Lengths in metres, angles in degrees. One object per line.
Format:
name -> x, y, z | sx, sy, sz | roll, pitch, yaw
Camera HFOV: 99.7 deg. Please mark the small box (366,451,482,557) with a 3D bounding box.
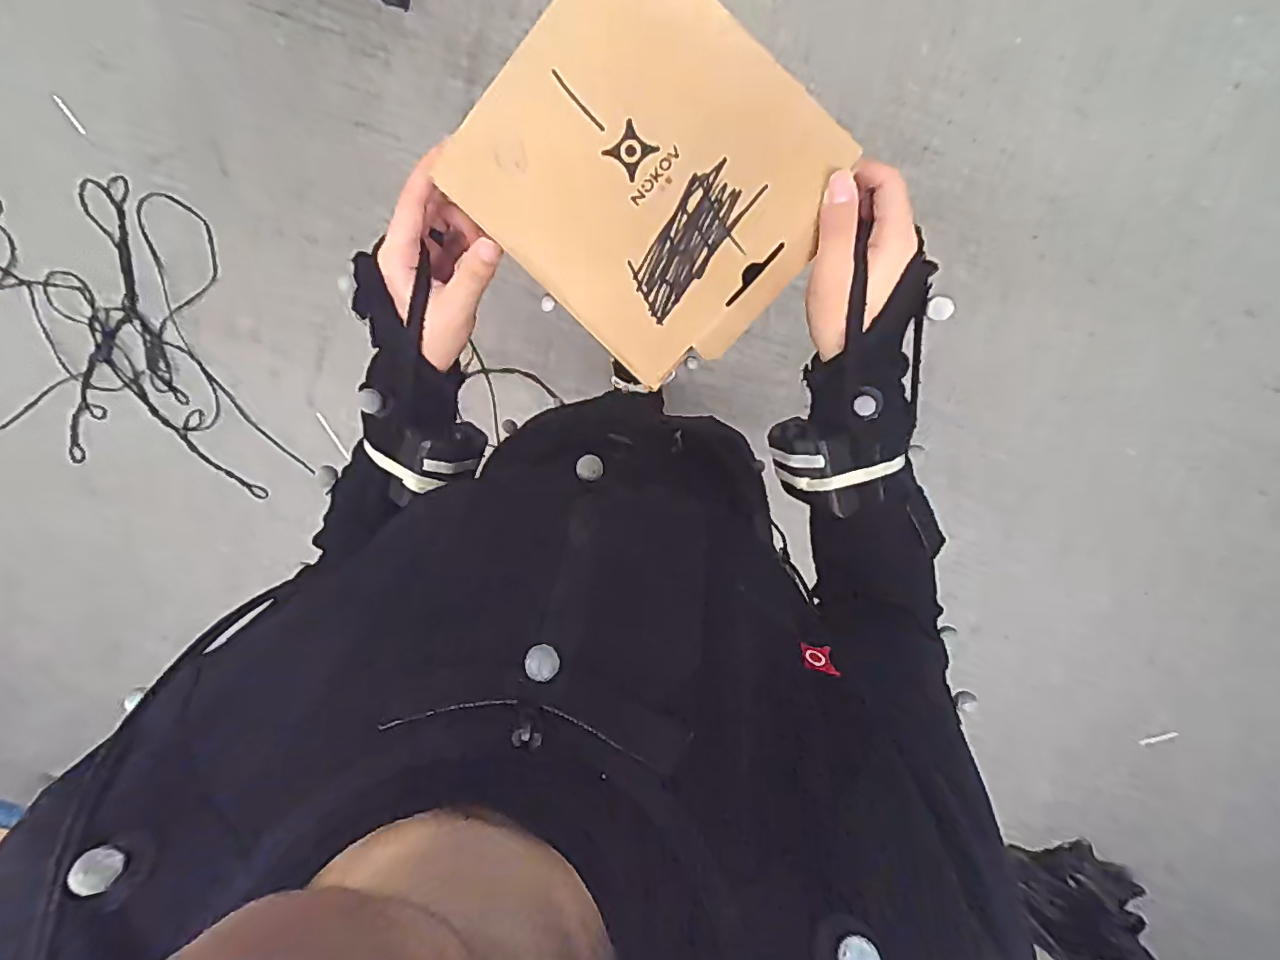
small box -> -0.521, 0.051, 1.334 | 0.179, 0.176, 0.168 | 40, 104, -8
